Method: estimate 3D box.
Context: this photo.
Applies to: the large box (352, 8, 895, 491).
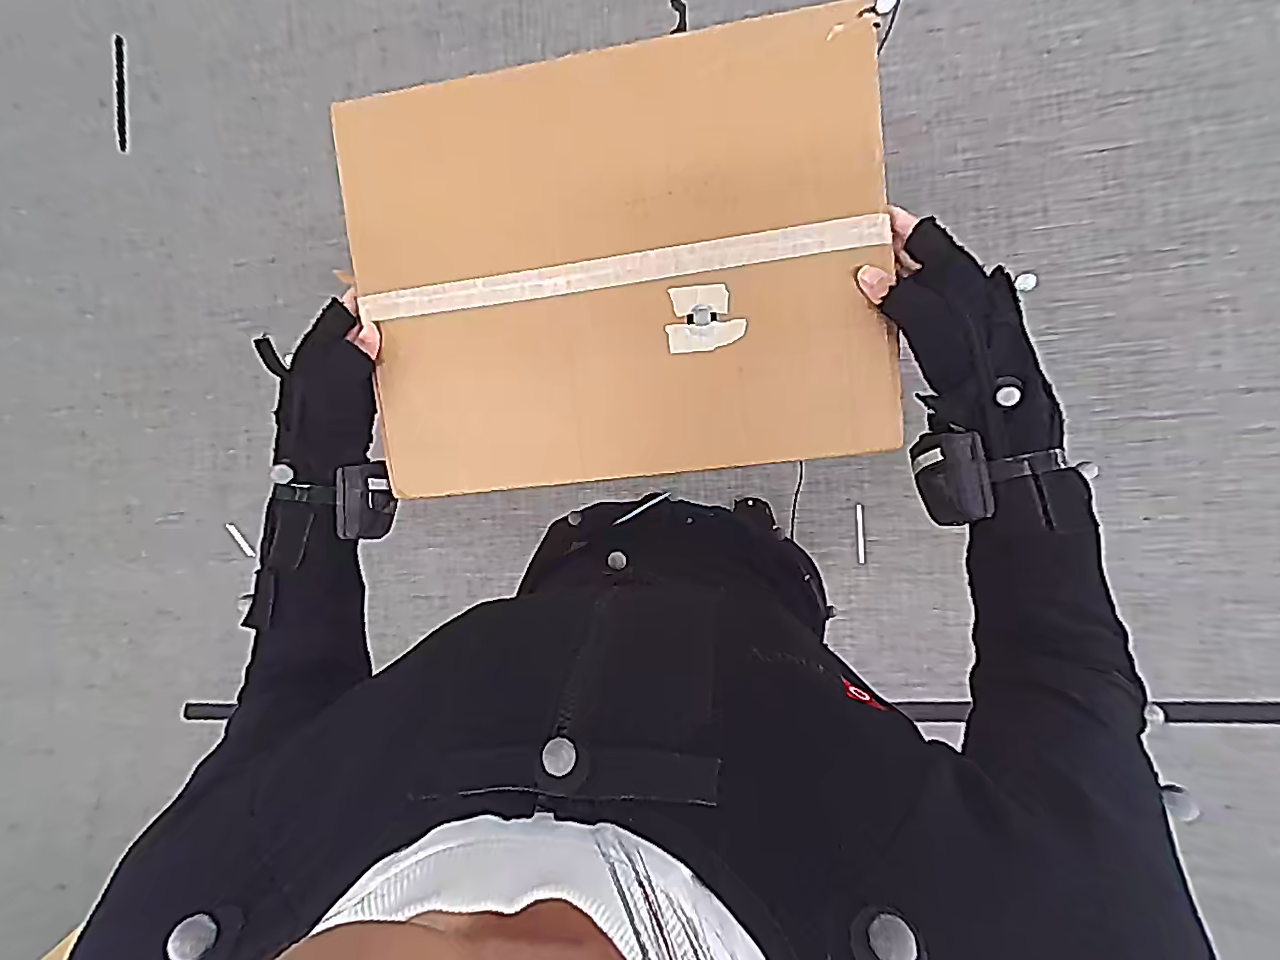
[{"bbox_3d":[-0.005,-0.179,0.569,0.408,0.320,0.320,-6,96,6],"label":"large box"}]
